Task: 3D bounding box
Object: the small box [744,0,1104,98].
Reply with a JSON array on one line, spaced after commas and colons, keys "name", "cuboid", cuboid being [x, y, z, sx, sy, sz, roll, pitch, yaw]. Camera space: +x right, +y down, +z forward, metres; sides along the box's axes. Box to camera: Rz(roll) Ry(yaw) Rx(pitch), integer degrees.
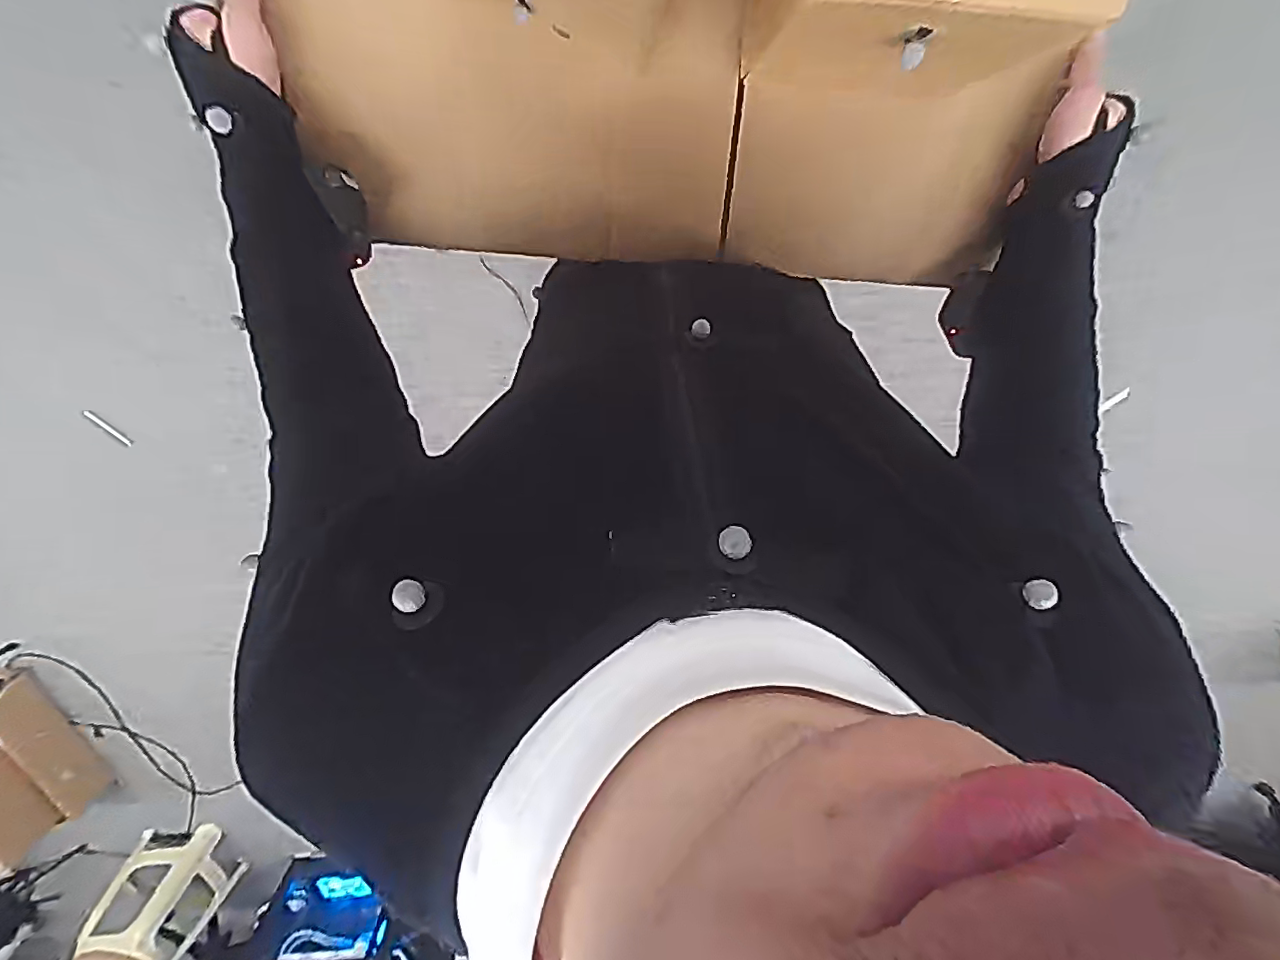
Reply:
[{"name": "small box", "cuboid": [0.179, -0.367, 0.350, 0.179, 0.176, 0.168, 2, 113, -3]}]
